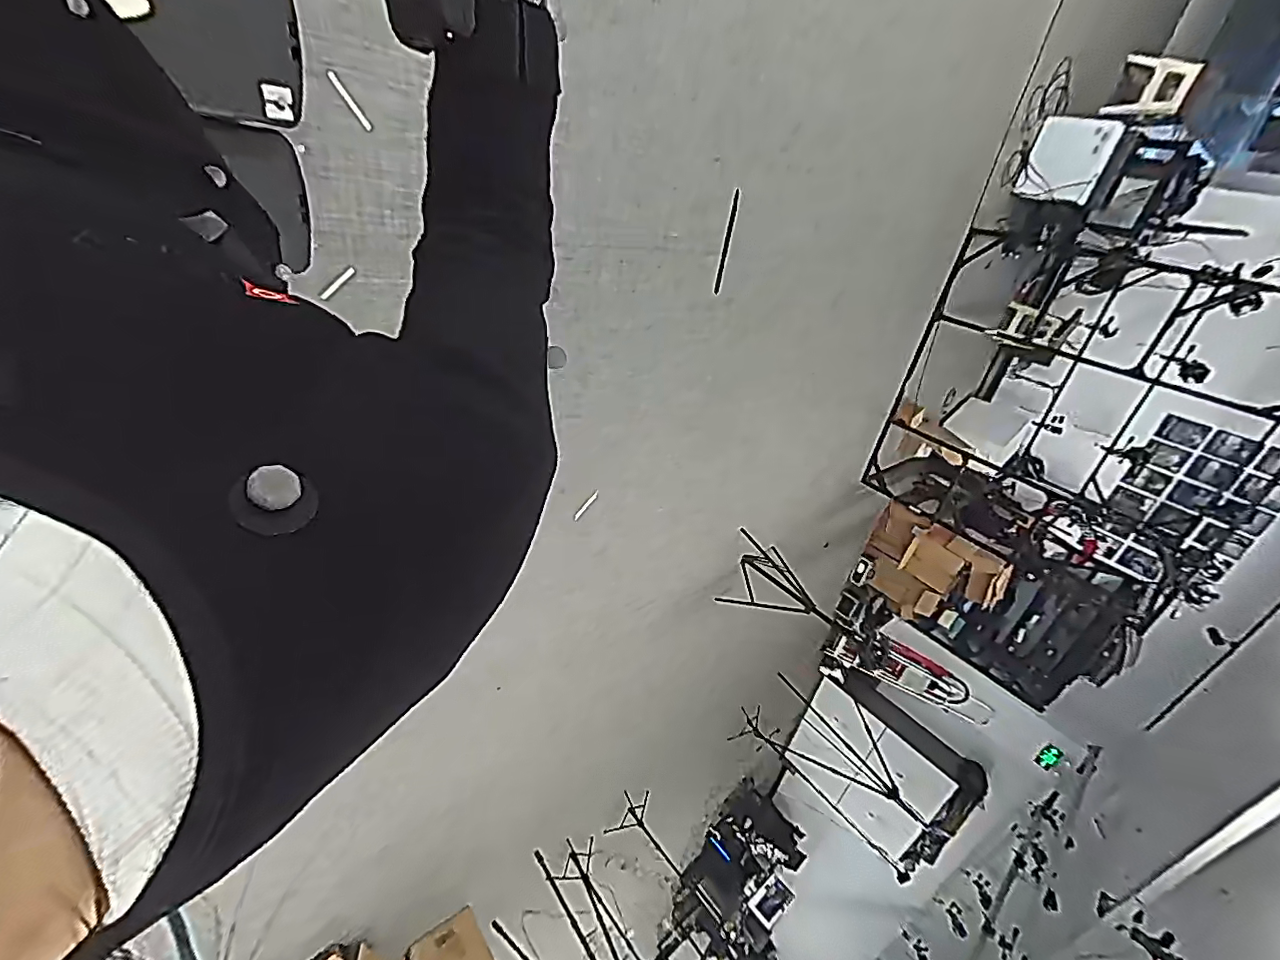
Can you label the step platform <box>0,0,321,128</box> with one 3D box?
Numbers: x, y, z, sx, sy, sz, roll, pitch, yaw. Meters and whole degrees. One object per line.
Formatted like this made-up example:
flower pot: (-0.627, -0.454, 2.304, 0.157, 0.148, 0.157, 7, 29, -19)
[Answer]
step platform: (-0.894, -0.769, 0.842, 0.684, 0.204, 0.286, -18, 131, -39)
